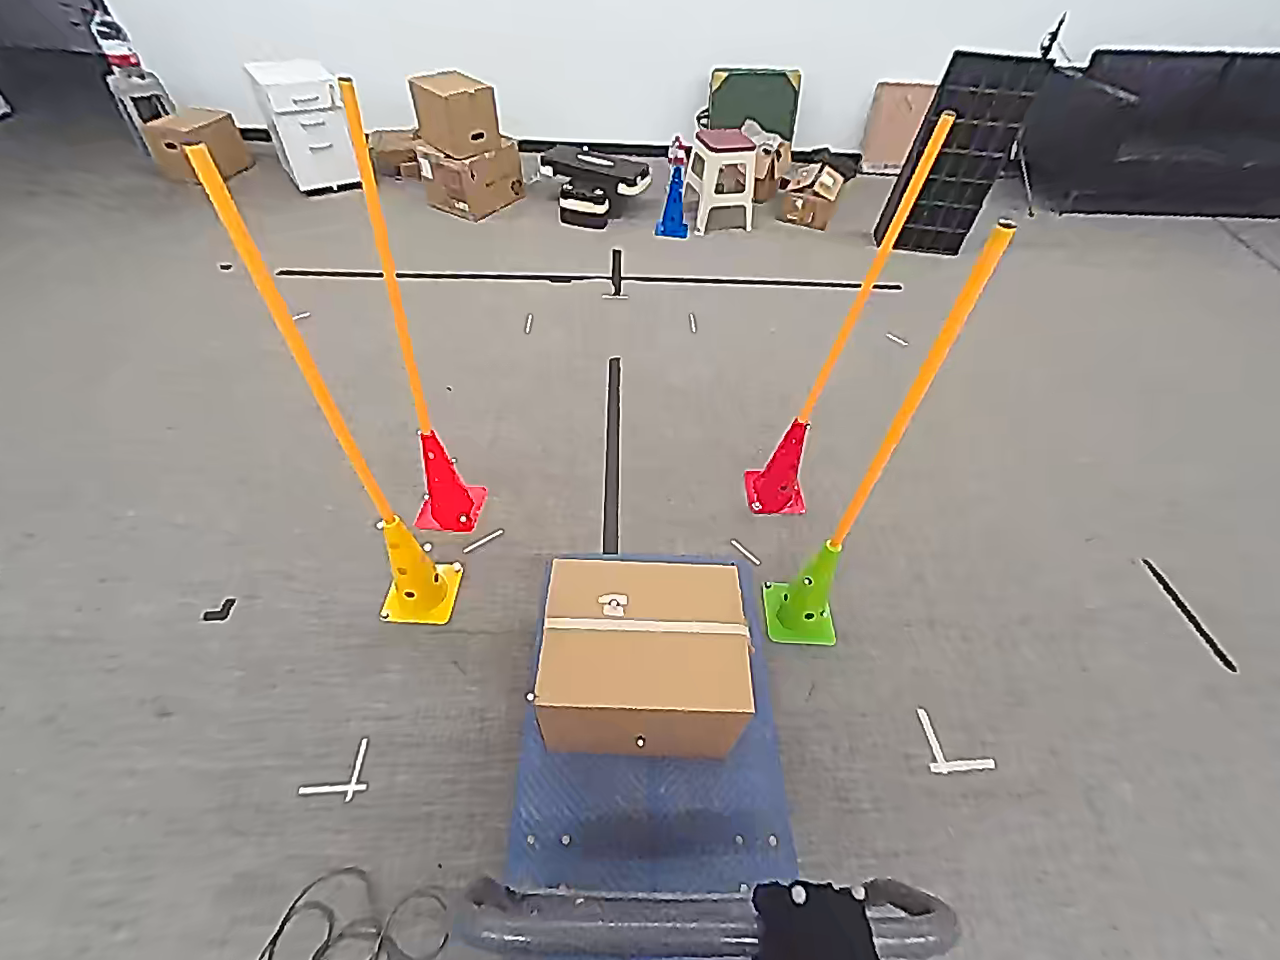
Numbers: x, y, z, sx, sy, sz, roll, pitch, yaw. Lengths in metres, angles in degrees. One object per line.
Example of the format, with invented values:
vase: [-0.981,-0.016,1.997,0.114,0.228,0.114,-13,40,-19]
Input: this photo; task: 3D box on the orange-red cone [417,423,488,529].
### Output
orange-red cone: [-0.627,-0.038,1.723,0.198,0.360,0.199,7,47,1]

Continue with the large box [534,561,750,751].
large box: [0.003,0.394,1.194,0.408,0.320,0.320,3,49,-1]

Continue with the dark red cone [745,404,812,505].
dark red cone: [0.501,-0.096,1.830,0.201,0.394,0.202,2,49,-5]

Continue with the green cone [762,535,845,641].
green cone: [0.491,0.279,1.522,0.202,0.368,0.200,5,48,-2]
